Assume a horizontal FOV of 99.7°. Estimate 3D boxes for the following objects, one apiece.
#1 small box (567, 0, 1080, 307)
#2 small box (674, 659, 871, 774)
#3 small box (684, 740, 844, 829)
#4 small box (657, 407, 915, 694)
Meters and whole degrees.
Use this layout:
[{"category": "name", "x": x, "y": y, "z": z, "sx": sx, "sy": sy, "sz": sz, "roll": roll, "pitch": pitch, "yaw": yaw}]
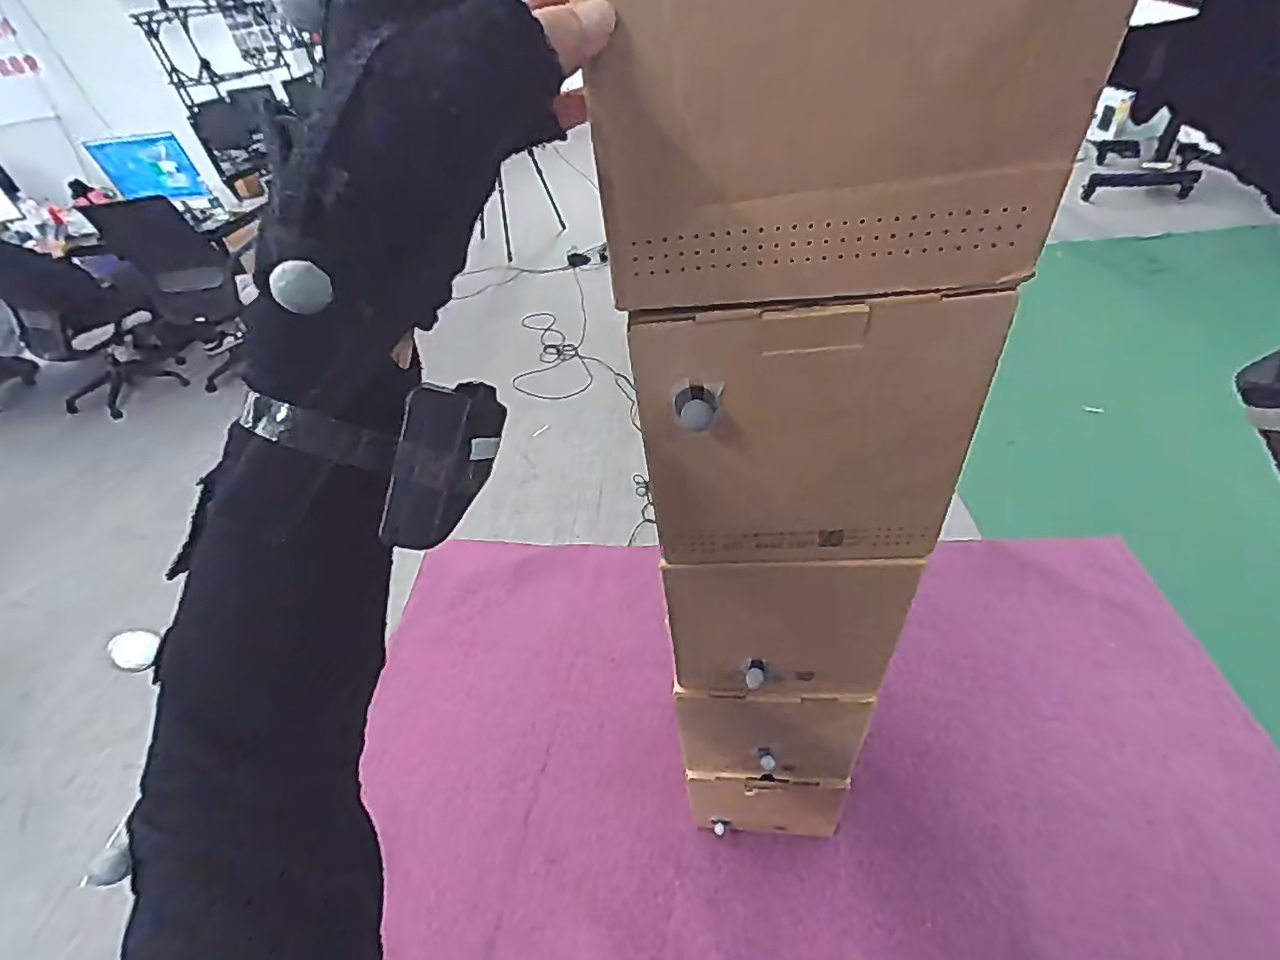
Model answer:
[{"category": "small box", "x": 0.066, "y": -0.190, "z": 0.244, "sx": 0.179, "sy": 0.176, "sz": 0.168, "roll": -2, "pitch": 43, "yaw": 7}, {"category": "small box", "x": 0.127, "y": 0.180, "z": 0.566, "sx": 0.168, "sy": 0.176, "sz": 0.179, "roll": -1, "pitch": 42, "yaw": 9}, {"category": "small box", "x": 0.146, "y": 0.307, "z": 0.668, "sx": 0.168, "sy": 0.176, "sz": 0.179, "roll": -1, "pitch": 42, "yaw": 9}, {"category": "small box", "x": 0.109, "y": 0.056, "z": 0.461, "sx": 0.168, "sy": 0.176, "sz": 0.179, "roll": -2, "pitch": 42, "yaw": 9}]
